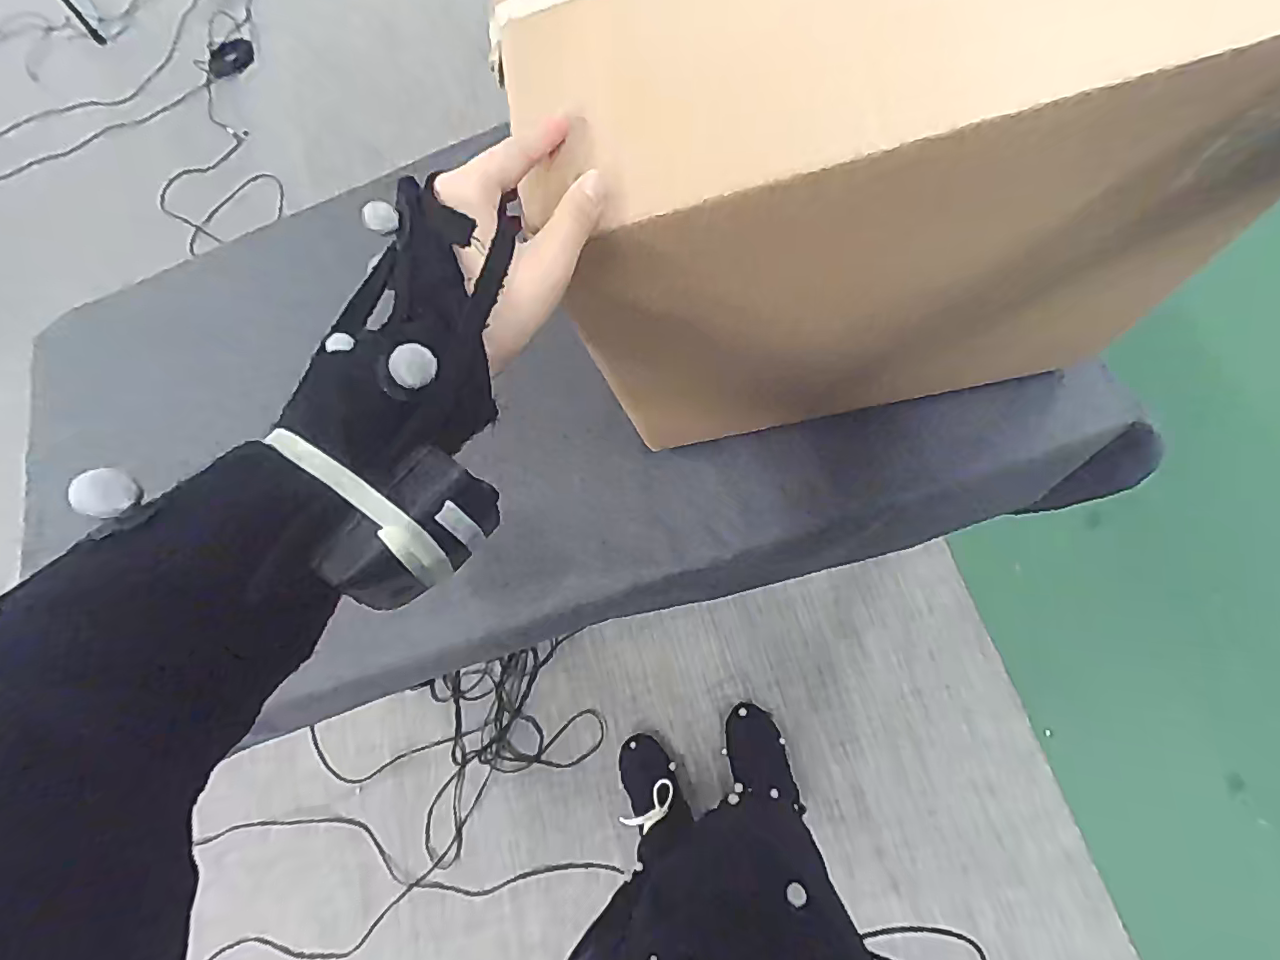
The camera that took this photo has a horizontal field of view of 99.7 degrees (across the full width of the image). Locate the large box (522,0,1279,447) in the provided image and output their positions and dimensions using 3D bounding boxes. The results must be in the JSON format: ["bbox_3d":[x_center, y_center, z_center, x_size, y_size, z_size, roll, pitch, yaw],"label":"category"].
[{"bbox_3d":[0.154,-0.252,0.422,0.408,0.320,0.320,-11,73,8],"label":"large box"}]
